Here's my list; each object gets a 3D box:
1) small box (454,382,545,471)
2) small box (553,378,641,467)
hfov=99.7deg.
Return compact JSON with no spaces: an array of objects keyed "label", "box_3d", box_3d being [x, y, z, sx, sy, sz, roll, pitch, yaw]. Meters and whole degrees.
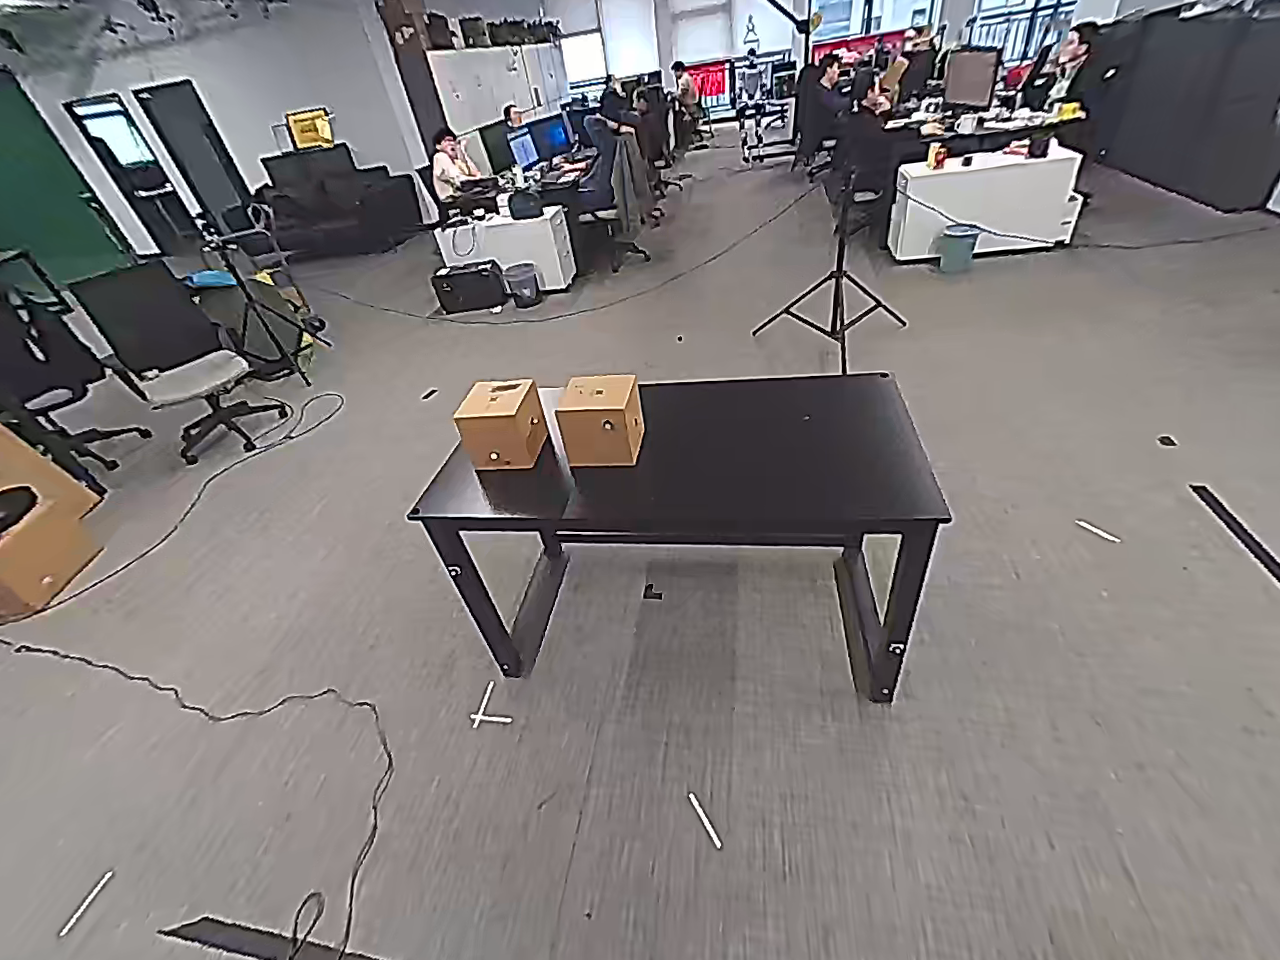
[{"label":"small box","box_3d":[-0.361,-0.141,1.430,0.168,0.176,0.179,-2,40,11]},{"label":"small box","box_3d":[-0.099,-0.145,1.376,0.179,0.176,0.168,0,38,11]}]
